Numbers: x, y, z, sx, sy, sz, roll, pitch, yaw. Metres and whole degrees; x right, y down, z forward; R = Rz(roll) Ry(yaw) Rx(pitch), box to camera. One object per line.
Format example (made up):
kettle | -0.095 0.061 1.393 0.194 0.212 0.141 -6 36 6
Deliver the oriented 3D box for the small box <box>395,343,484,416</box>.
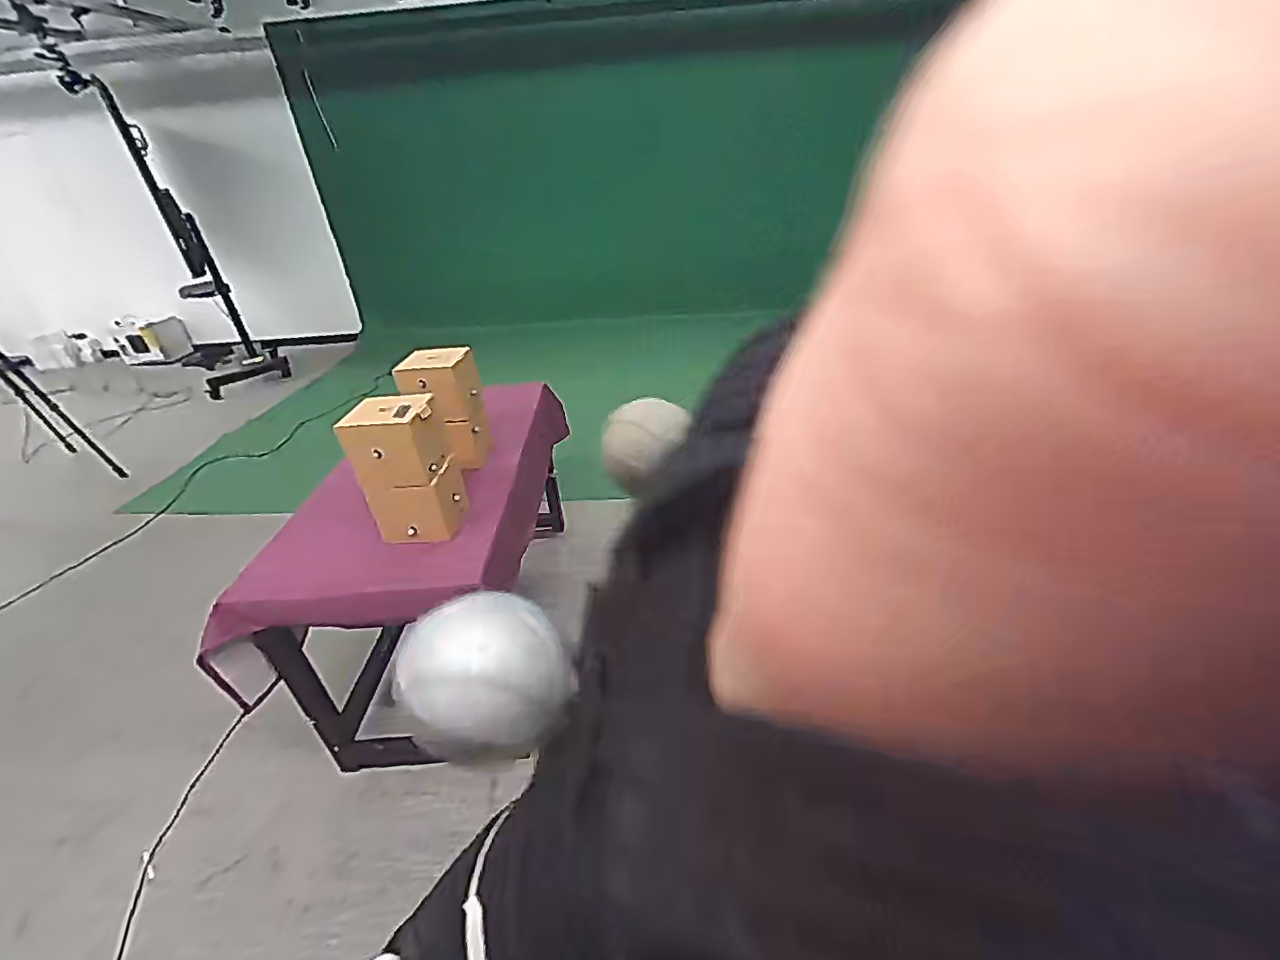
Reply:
small box | -0.584 -0.295 1.600 0.179 0.176 0.168 -1 33 5

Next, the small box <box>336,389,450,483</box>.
small box | -0.581 -0.106 1.305 0.179 0.176 0.168 -3 32 4

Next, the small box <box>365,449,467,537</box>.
small box | -0.563 0.034 1.391 0.179 0.176 0.168 -2 32 3
